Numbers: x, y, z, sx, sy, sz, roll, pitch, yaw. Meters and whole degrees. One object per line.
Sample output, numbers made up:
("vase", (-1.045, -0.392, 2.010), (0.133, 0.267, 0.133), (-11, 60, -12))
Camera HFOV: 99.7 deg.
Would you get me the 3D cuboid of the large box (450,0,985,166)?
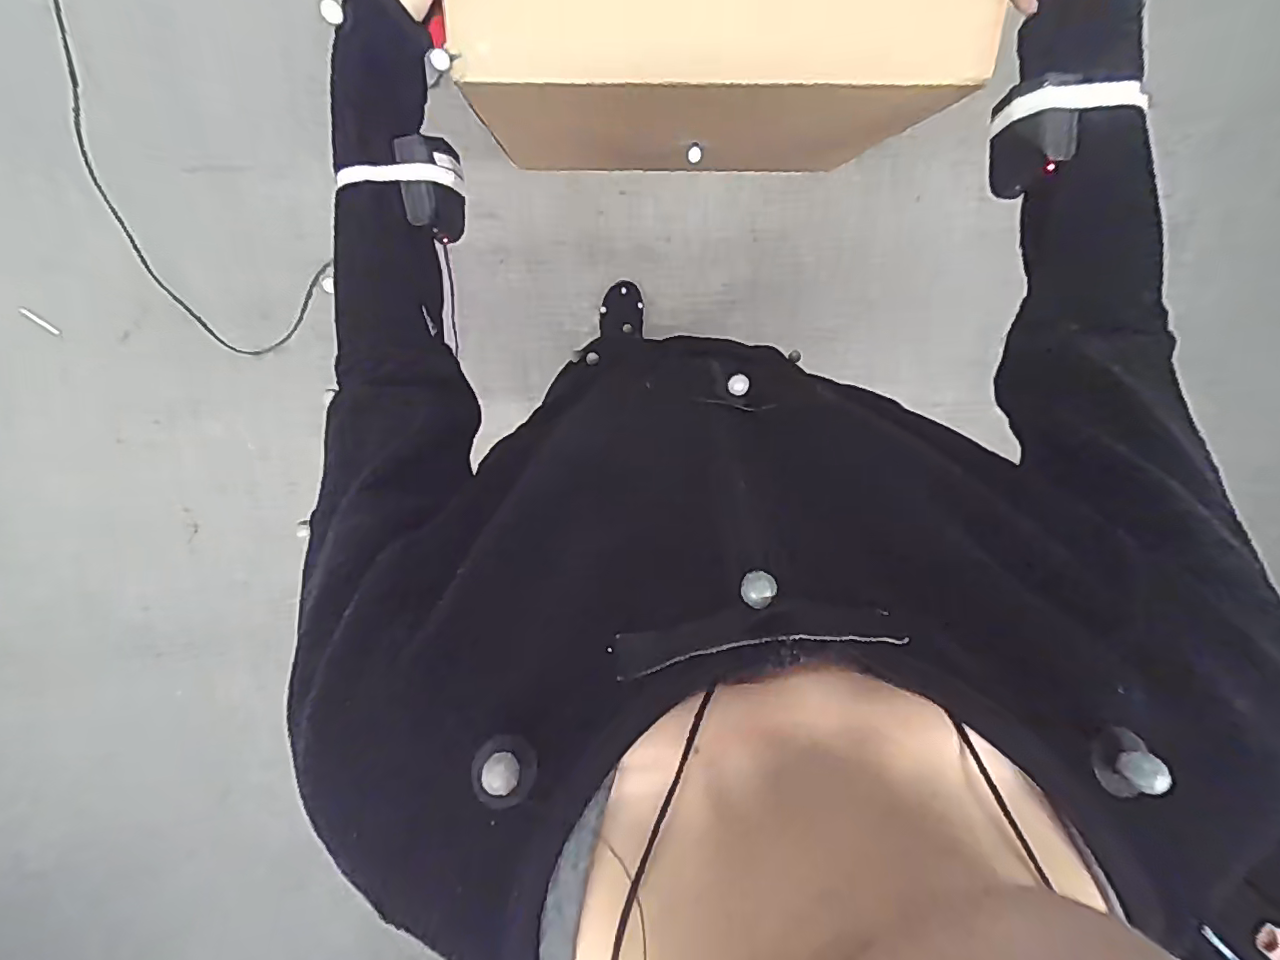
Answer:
("large box", (0.054, -0.496, 0.503), (0.408, 0.320, 0.320), (-1, 109, -2))
